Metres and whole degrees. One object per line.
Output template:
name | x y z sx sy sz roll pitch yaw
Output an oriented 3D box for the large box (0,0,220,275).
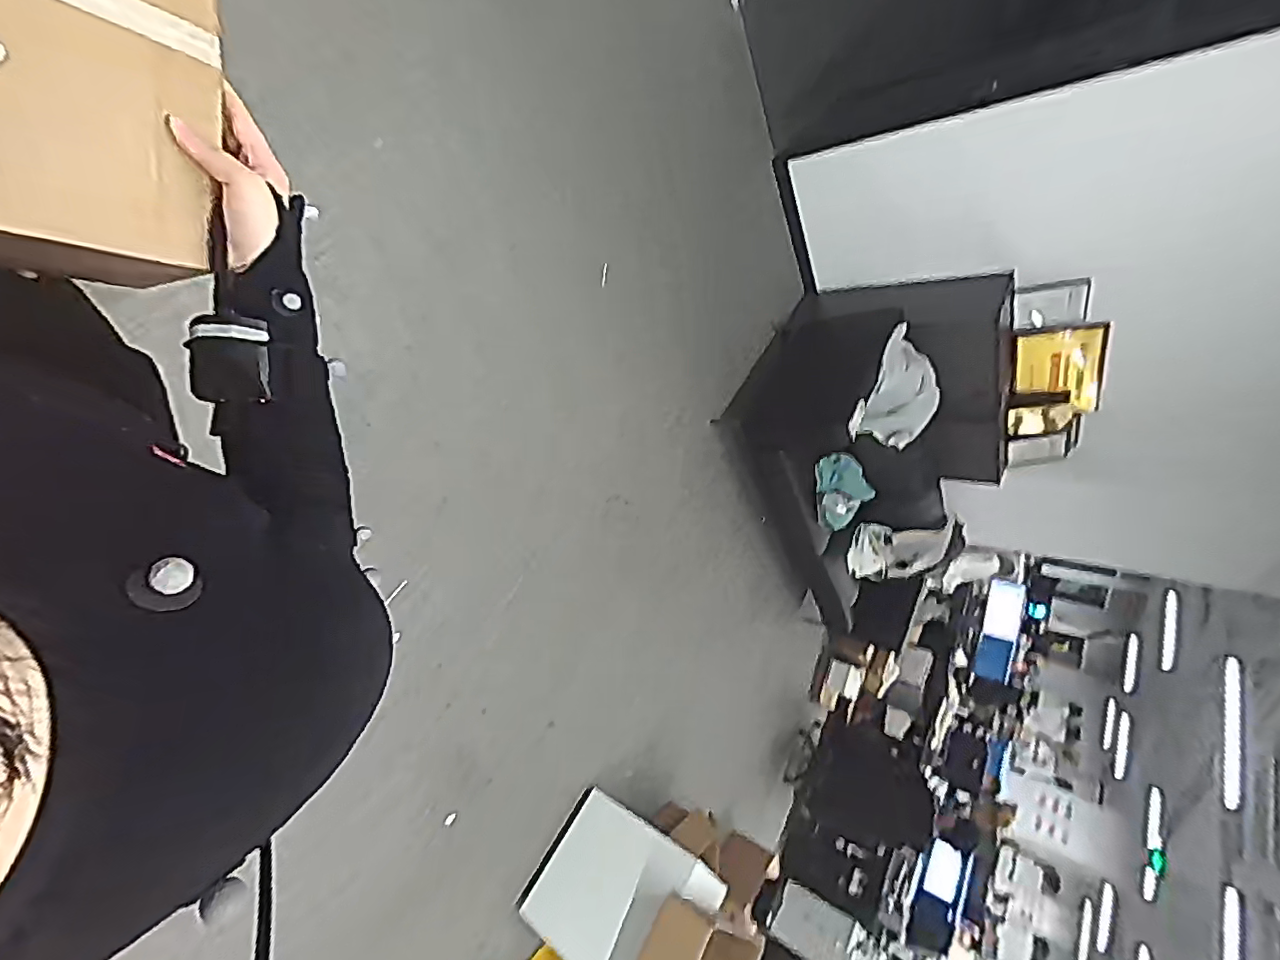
large box | -0.560 -0.341 0.343 0.408 0.320 0.320 -4 104 -52
